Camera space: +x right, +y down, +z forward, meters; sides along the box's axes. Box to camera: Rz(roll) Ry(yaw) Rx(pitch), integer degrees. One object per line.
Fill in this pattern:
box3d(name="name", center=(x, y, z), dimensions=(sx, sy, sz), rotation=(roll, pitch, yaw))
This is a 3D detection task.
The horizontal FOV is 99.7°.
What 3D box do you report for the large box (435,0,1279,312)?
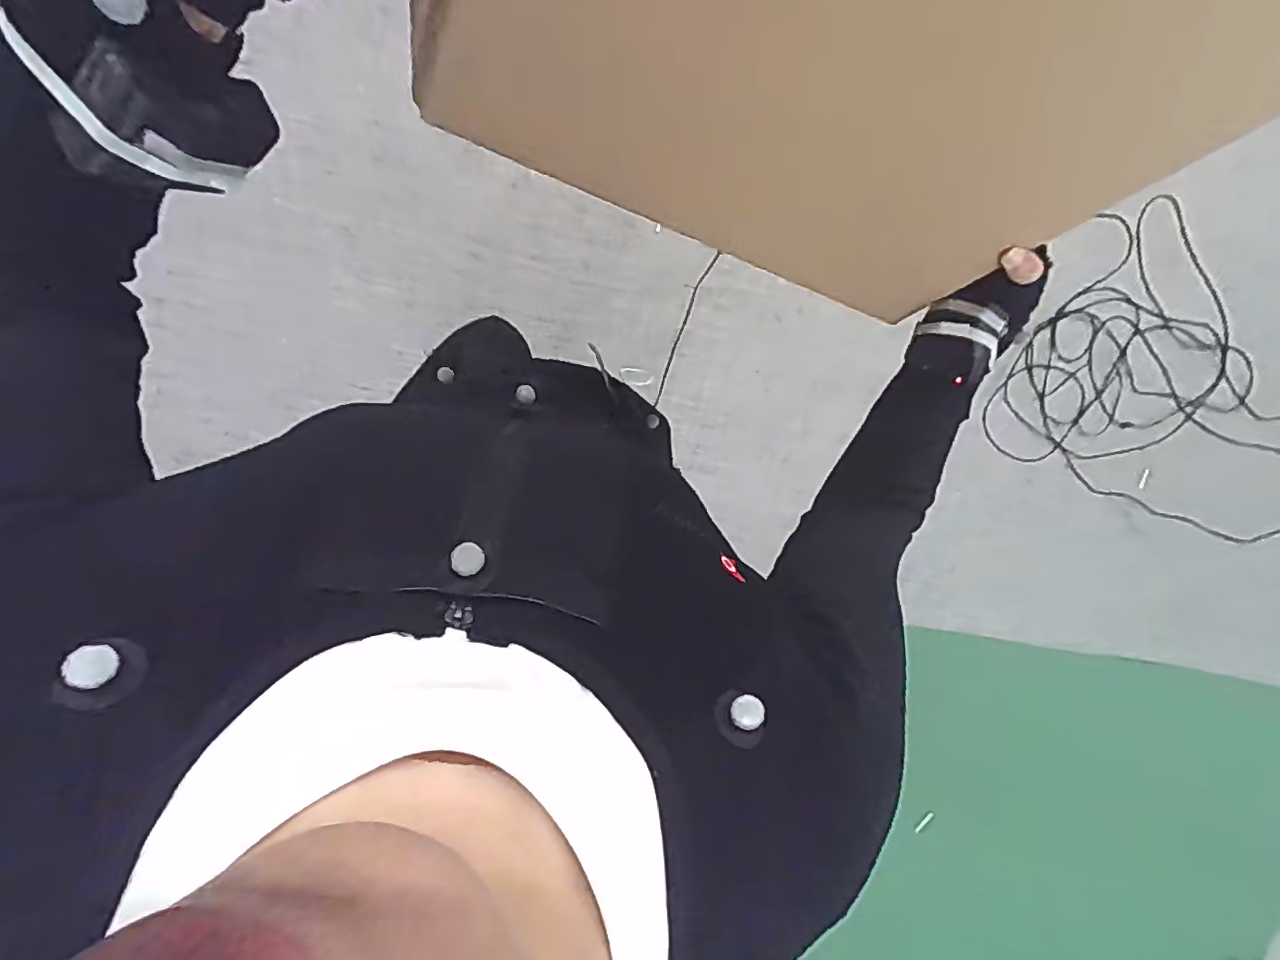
box3d(name="large box", center=(0.132, -0.340, 0.287), dimensions=(0.408, 0.320, 0.320), rotation=(5, 71, -38))
